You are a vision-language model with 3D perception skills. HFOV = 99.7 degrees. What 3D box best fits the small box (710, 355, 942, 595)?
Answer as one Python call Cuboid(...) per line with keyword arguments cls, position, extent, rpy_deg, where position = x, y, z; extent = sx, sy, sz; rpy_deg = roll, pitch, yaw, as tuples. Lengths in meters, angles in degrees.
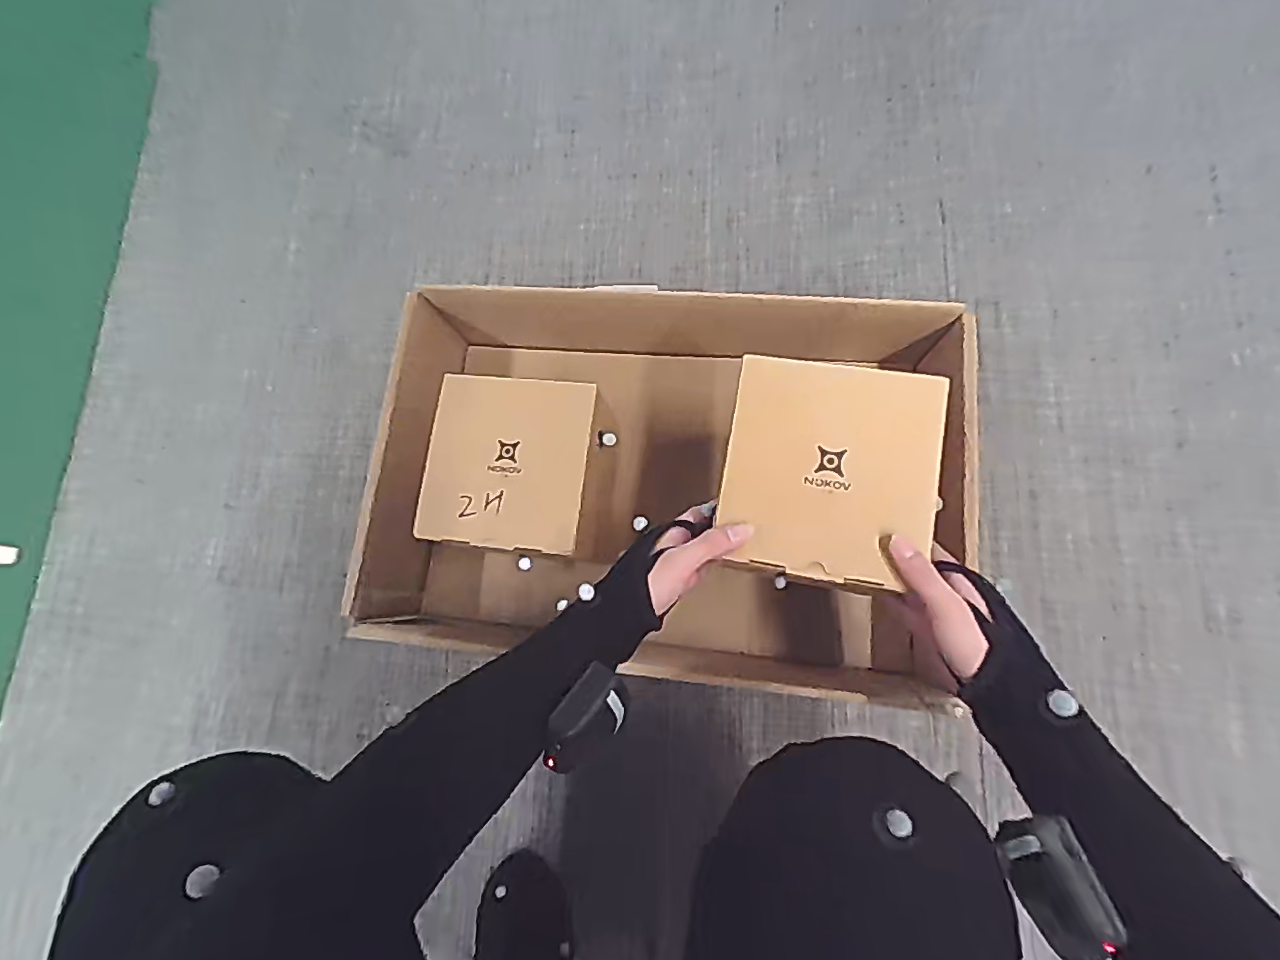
Cuboid(cls="small box", position=(0.159, 0.004, 0.511), extent=(0.168, 0.176, 0.179), rpy_deg=(9, 82, 9))
